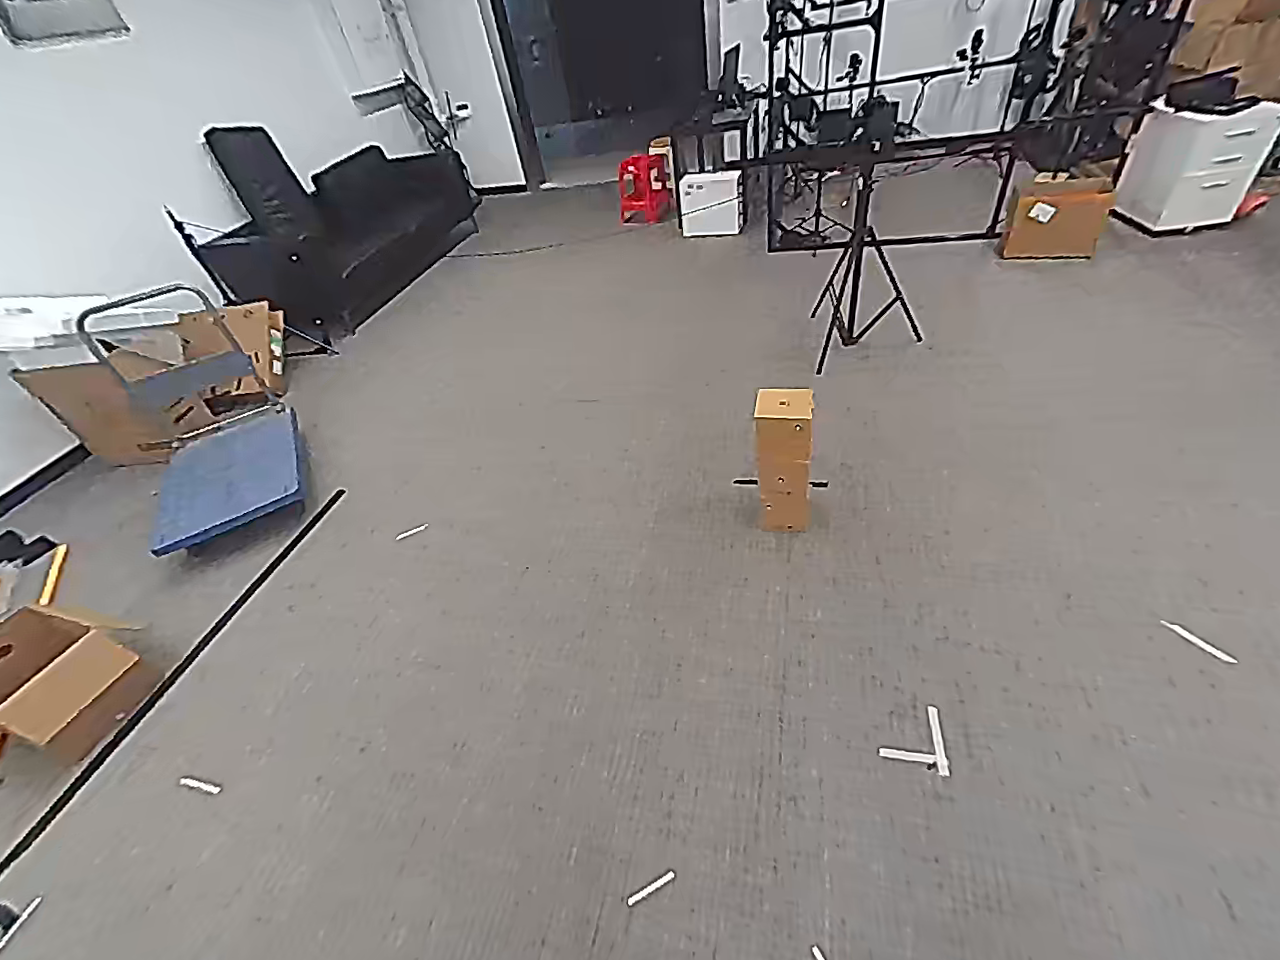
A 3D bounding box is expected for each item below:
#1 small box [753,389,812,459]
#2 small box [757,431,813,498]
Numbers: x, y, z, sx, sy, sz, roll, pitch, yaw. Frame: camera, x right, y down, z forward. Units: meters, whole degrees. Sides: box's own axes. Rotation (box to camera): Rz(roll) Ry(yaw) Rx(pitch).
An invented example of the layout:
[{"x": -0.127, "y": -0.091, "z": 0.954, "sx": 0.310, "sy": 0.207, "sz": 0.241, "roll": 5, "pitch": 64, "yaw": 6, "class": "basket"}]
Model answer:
[{"x": 0.467, "y": -0.181, "z": 1.767, "sx": 0.179, "sy": 0.176, "sz": 0.168, "roll": 3, "pitch": 43, "yaw": 16, "class": "small box"}, {"x": 0.501, "y": -0.058, "z": 1.869, "sx": 0.168, "sy": 0.176, "sz": 0.179, "roll": 6, "pitch": 43, "yaw": 19, "class": "small box"}]
